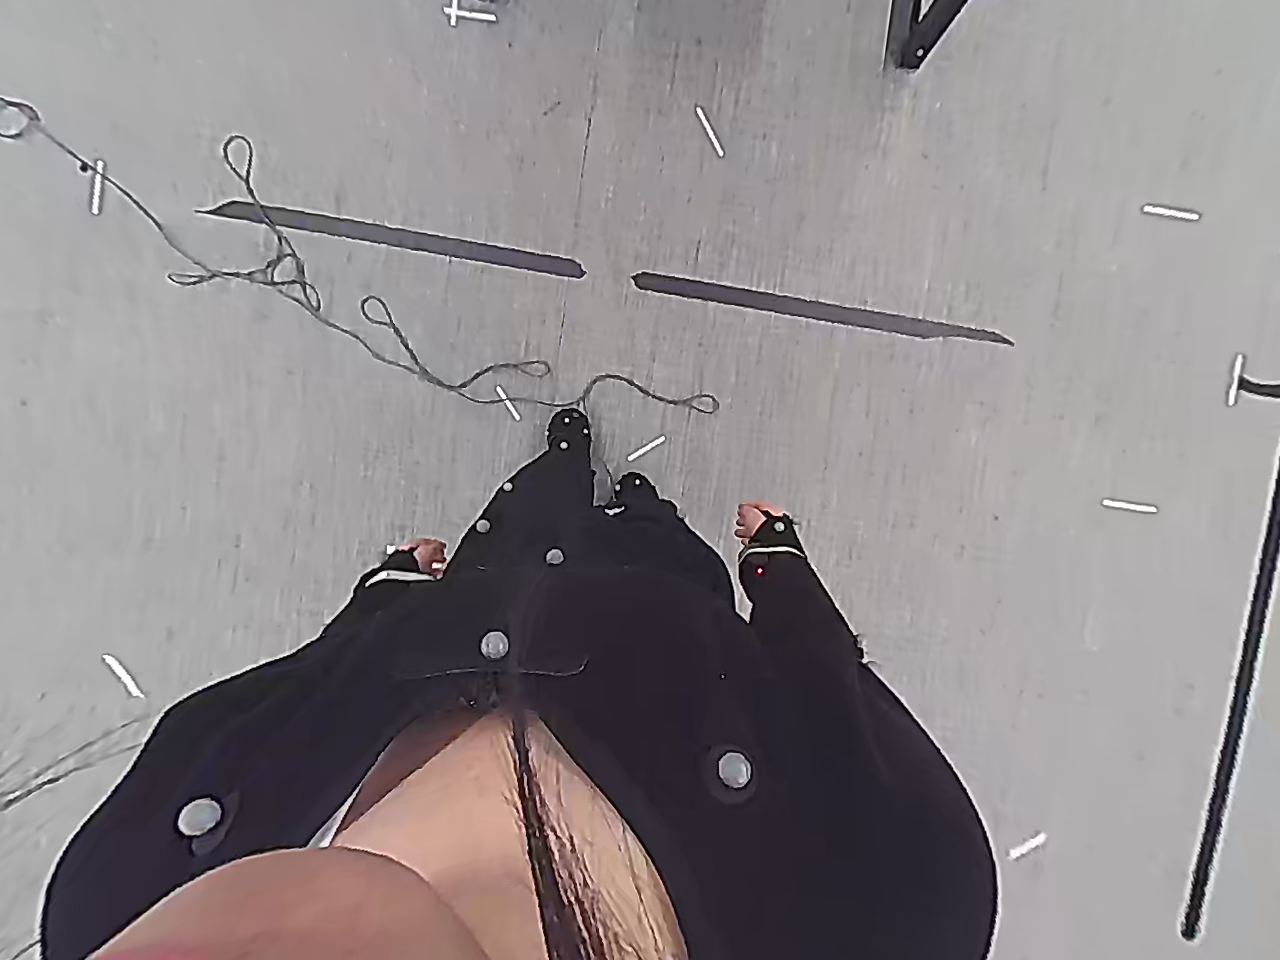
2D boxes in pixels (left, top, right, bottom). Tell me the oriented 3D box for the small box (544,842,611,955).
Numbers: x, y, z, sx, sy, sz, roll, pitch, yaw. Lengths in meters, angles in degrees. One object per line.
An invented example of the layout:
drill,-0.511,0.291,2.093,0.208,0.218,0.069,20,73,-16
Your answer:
small box,-0.162,1.111,1.444,0.168,0.176,0.179,-1,93,-2
